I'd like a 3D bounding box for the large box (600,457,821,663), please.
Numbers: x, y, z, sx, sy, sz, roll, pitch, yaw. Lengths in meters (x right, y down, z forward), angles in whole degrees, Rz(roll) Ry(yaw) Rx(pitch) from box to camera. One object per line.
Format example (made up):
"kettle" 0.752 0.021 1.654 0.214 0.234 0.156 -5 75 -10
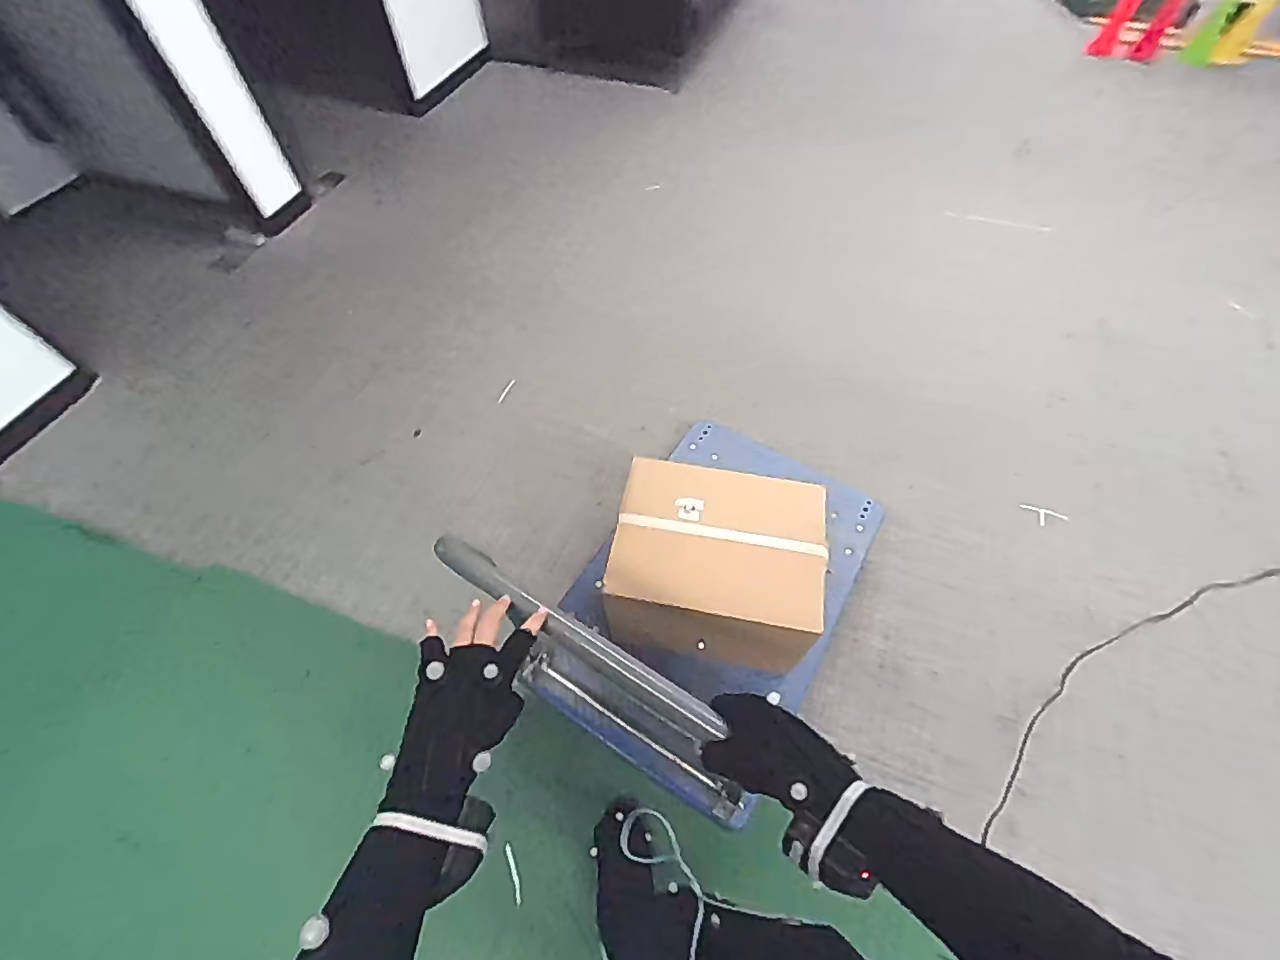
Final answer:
"large box" 0.156 0.181 1.177 0.408 0.320 0.320 9 59 8
